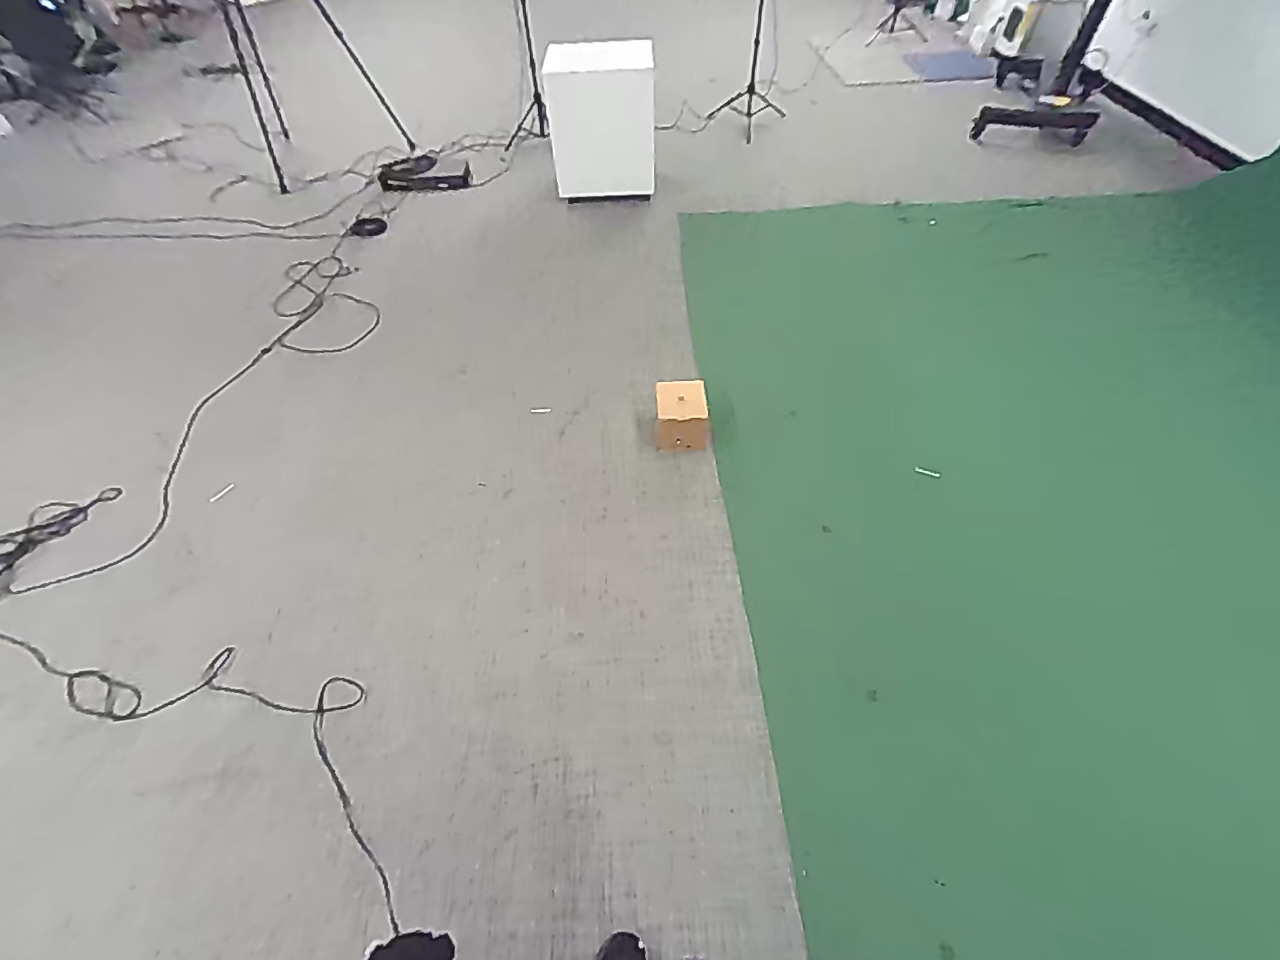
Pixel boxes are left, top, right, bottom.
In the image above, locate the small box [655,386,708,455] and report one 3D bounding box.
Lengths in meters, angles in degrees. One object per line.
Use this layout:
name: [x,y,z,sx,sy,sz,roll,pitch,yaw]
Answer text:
small box: [0.139,-0.206,1.878,0.168,0.176,0.179,-3,54,0]
